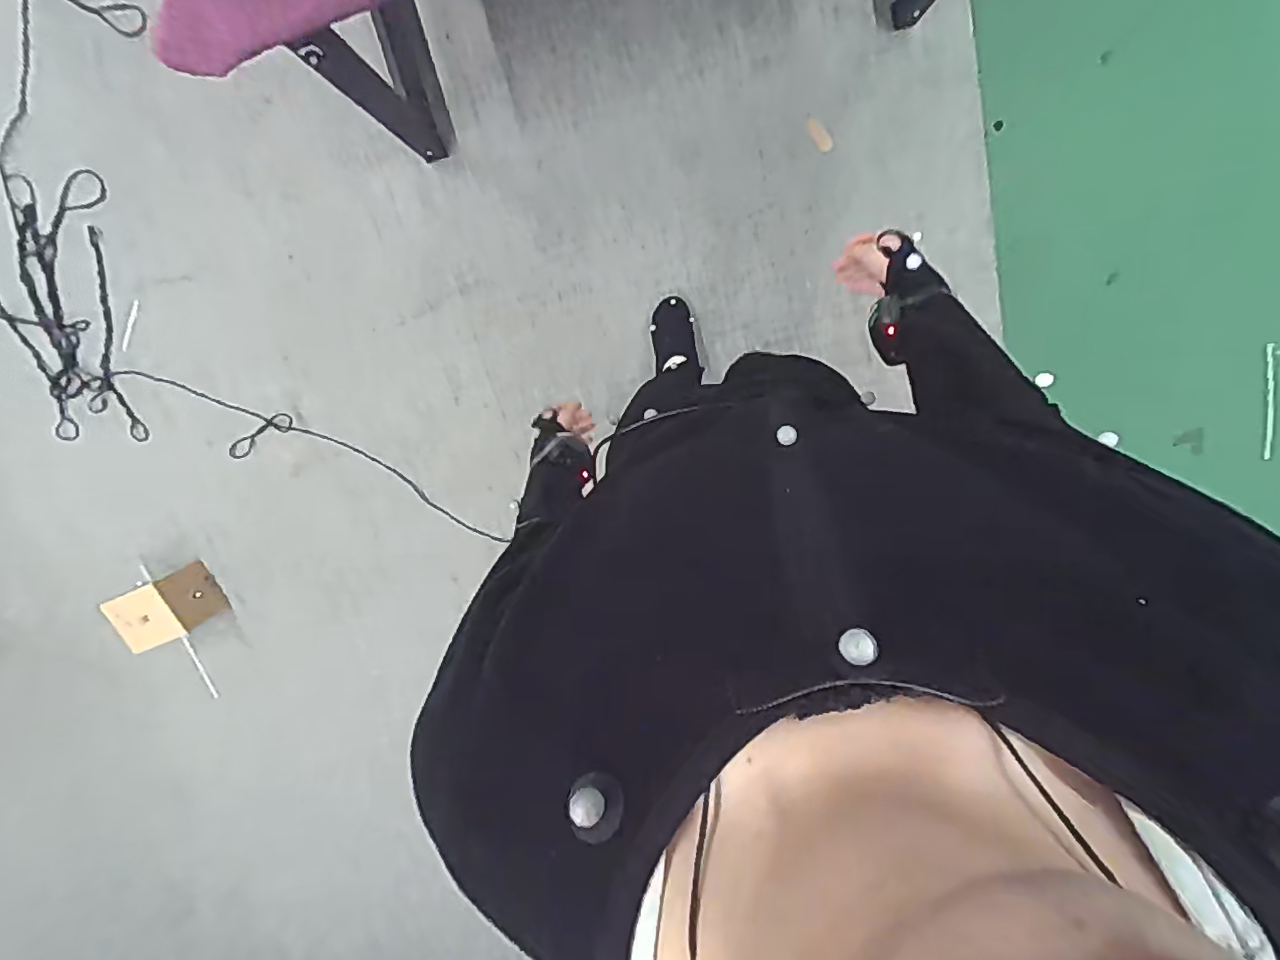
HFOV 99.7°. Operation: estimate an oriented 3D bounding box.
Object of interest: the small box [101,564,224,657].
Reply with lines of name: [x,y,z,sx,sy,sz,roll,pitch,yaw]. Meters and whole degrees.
small box: [-1.338,0.363,1.537,0.179,0.176,0.168,-22,103,7]
